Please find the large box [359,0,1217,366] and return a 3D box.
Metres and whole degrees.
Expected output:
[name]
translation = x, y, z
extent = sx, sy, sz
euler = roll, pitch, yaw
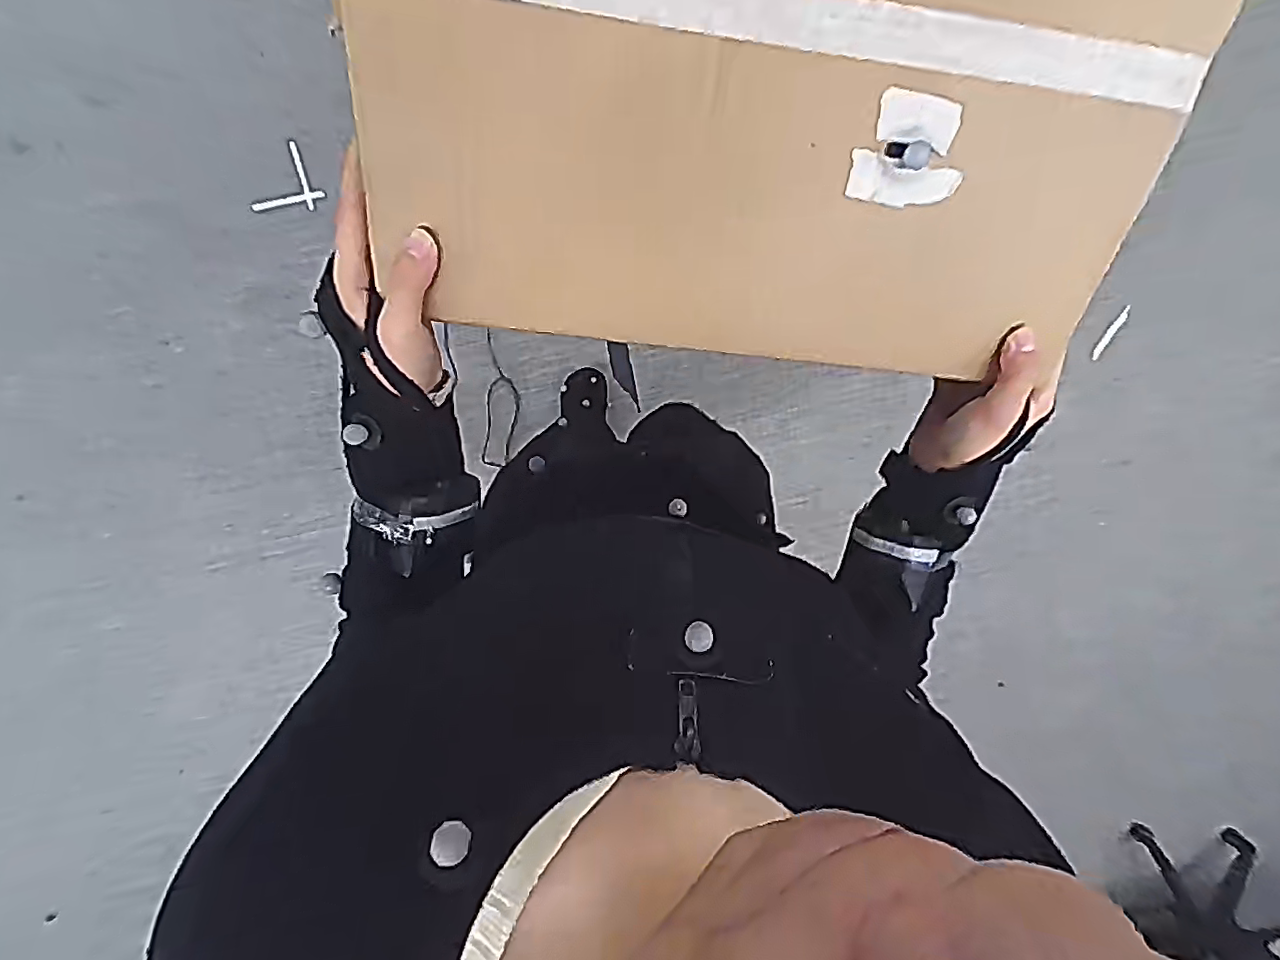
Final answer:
[large box]
translation = 0.062, -0.287, 0.382
extent = 0.408, 0.320, 0.320
euler = 3, 120, -7
